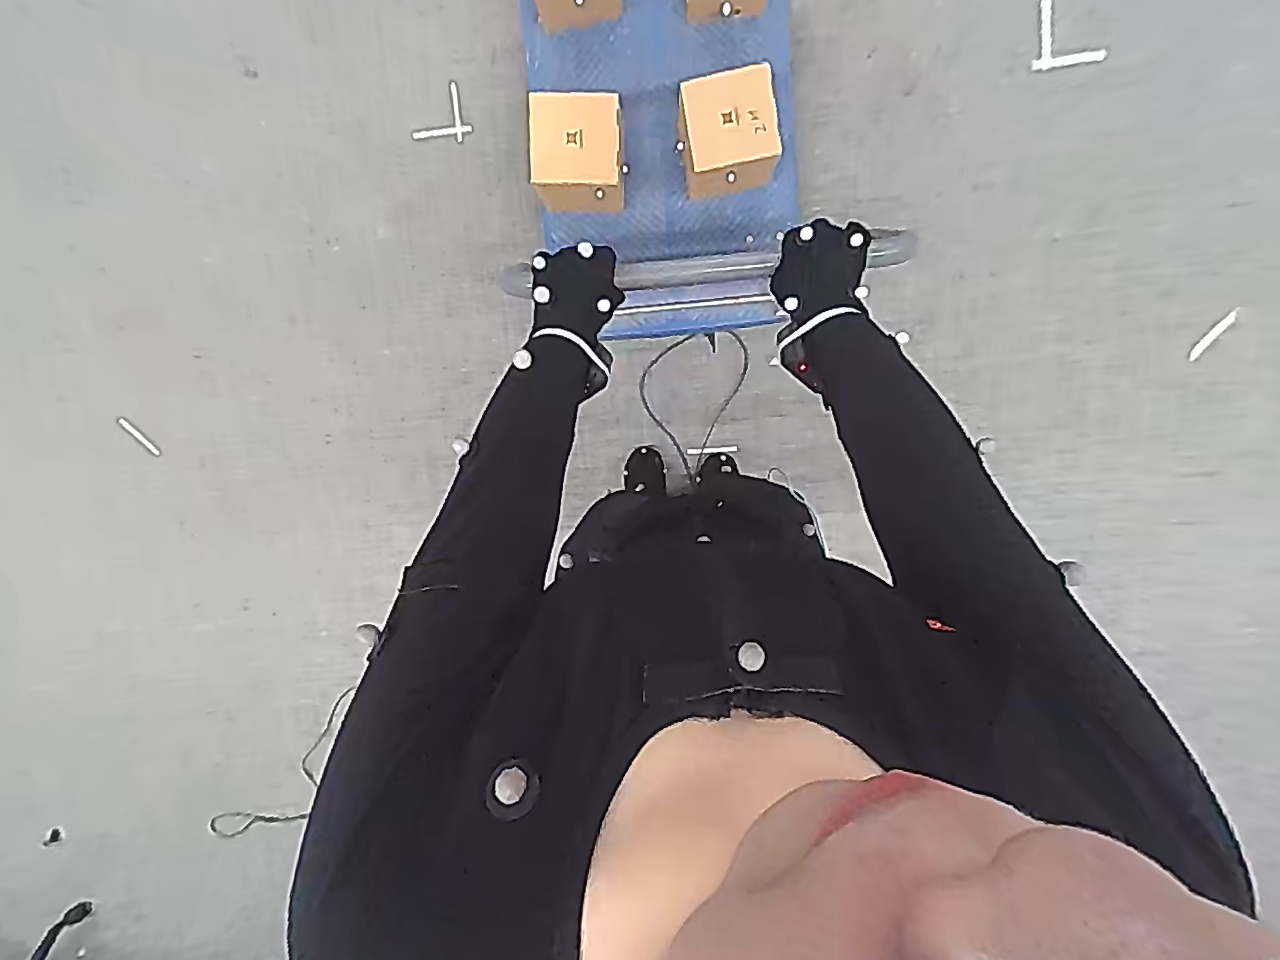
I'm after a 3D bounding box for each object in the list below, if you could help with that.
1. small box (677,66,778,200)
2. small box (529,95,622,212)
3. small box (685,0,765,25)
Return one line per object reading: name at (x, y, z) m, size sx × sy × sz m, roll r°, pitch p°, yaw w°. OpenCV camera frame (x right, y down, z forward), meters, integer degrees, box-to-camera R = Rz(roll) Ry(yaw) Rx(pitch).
small box at (0.175, -0.710, 1.128) m, size 0.179 × 0.176 × 0.168 m, roll -10°, pitch 98°, yaw 4°
small box at (-0.130, -0.680, 1.143) m, size 0.179 × 0.176 × 0.168 m, roll 0°, pitch 98°, yaw 0°
small box at (0.171, -1.061, 1.074) m, size 0.168 × 0.176 × 0.179 m, roll -5°, pitch 100°, yaw 3°
